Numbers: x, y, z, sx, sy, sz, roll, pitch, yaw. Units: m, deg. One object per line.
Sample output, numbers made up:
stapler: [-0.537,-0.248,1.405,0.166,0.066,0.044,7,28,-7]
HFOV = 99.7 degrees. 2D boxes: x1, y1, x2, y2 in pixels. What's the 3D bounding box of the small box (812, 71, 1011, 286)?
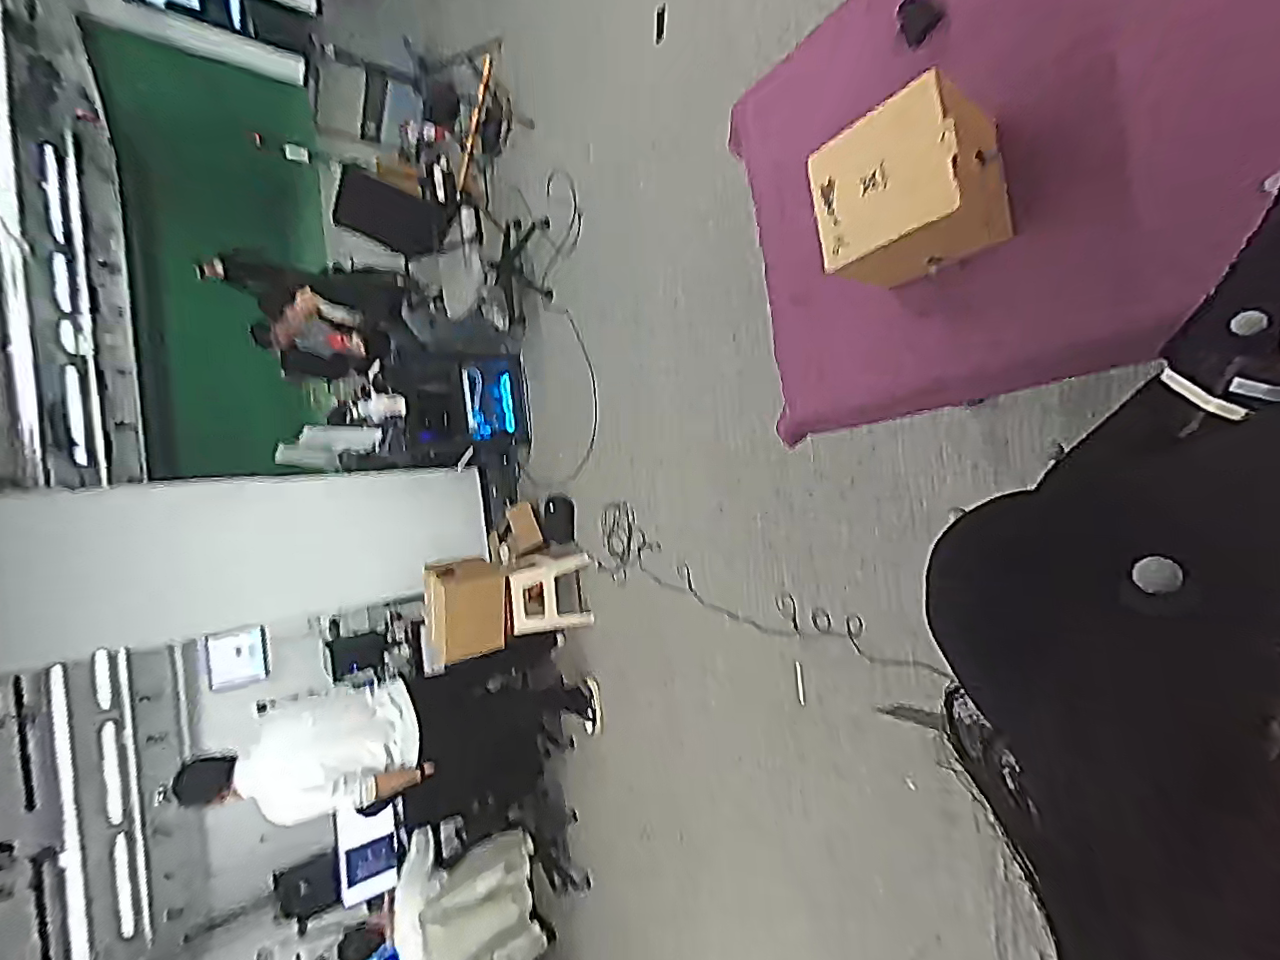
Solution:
small box: [0.361,-0.377,0.716,0.179,0.176,0.168,-13,84,52]
